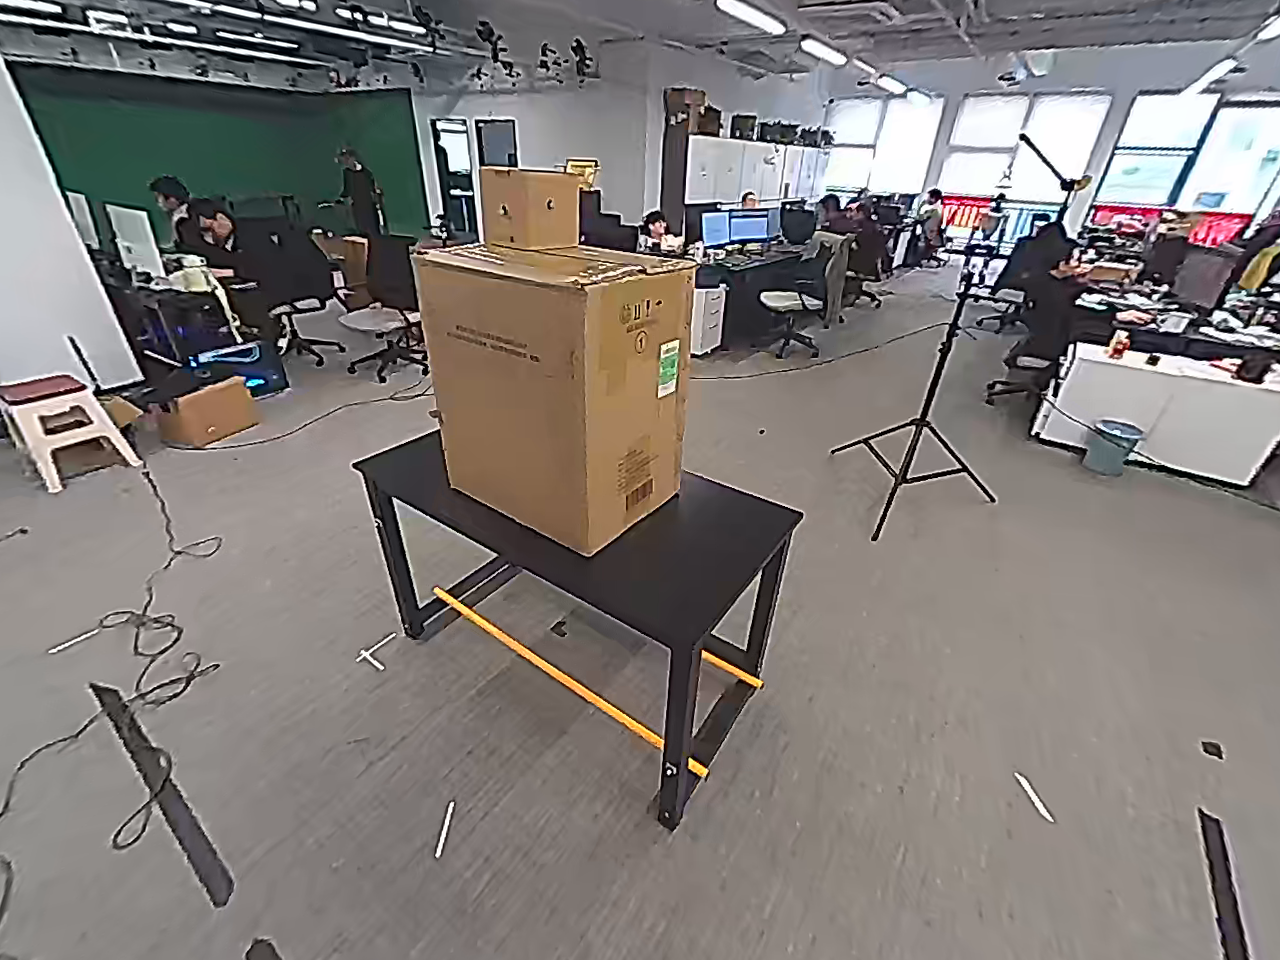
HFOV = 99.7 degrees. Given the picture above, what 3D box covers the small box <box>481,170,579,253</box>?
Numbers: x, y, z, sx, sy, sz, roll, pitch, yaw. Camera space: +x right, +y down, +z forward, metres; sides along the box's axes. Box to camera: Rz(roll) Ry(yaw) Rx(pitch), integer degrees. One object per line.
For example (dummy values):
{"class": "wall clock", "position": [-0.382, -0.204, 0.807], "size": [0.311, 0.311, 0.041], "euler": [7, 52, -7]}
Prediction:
{"class": "small box", "position": [-0.261, -0.659, 1.326], "size": [0.168, 0.176, 0.179], "euler": [22, 35, 29]}
